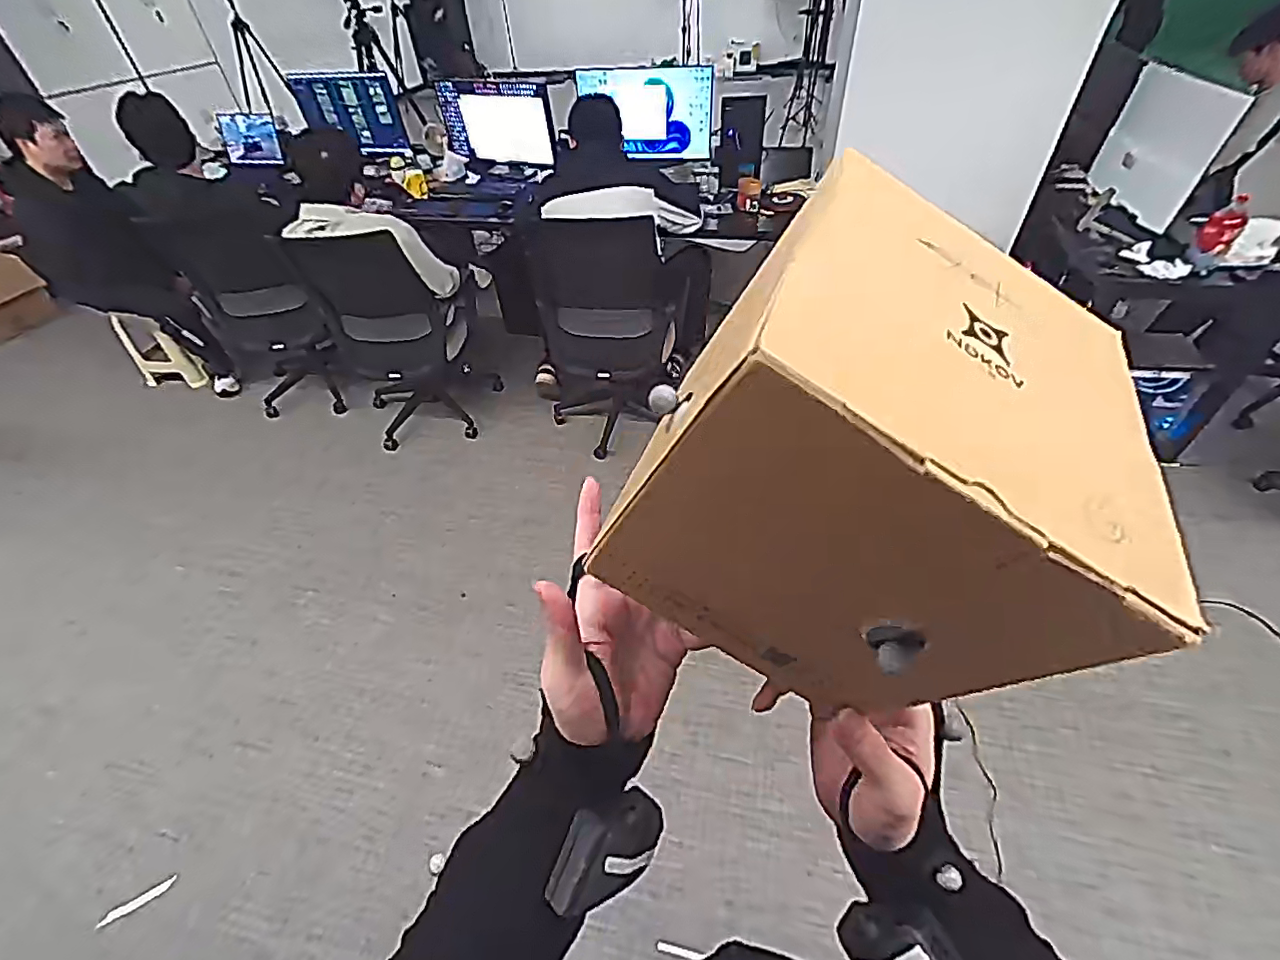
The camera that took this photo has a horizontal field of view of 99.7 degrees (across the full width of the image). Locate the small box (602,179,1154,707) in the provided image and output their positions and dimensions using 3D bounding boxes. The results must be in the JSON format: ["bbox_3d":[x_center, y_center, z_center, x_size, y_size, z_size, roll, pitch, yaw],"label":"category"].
[{"bbox_3d":[0.097,-0.006,0.282,0.168,0.176,0.179,31,52,-5],"label":"small box"}]
